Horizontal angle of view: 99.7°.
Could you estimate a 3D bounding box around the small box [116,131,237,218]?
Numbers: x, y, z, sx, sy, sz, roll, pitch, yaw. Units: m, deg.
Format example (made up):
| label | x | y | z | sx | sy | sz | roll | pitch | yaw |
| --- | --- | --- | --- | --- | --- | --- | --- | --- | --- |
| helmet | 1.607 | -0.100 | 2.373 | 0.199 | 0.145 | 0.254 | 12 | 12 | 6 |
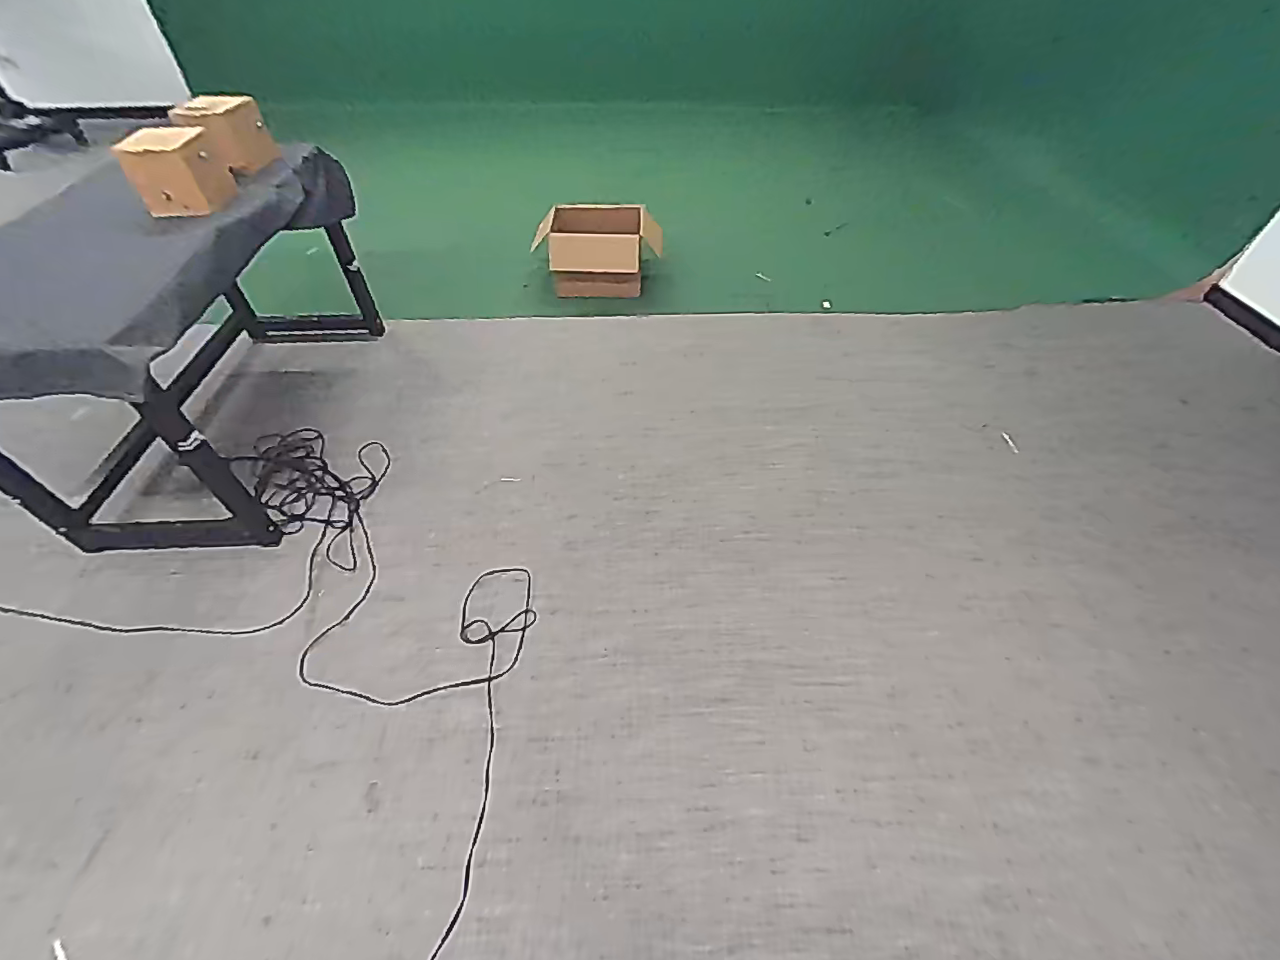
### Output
| label | x | y | z | sx | sy | sz | roll | pitch | yaw |
| --- | --- | --- | --- | --- | --- | --- | --- | --- | --- |
| small box | -1.265 | -0.845 | 1.496 | 0.168 | 0.176 | 0.179 | -3 | 49 | -3 |
